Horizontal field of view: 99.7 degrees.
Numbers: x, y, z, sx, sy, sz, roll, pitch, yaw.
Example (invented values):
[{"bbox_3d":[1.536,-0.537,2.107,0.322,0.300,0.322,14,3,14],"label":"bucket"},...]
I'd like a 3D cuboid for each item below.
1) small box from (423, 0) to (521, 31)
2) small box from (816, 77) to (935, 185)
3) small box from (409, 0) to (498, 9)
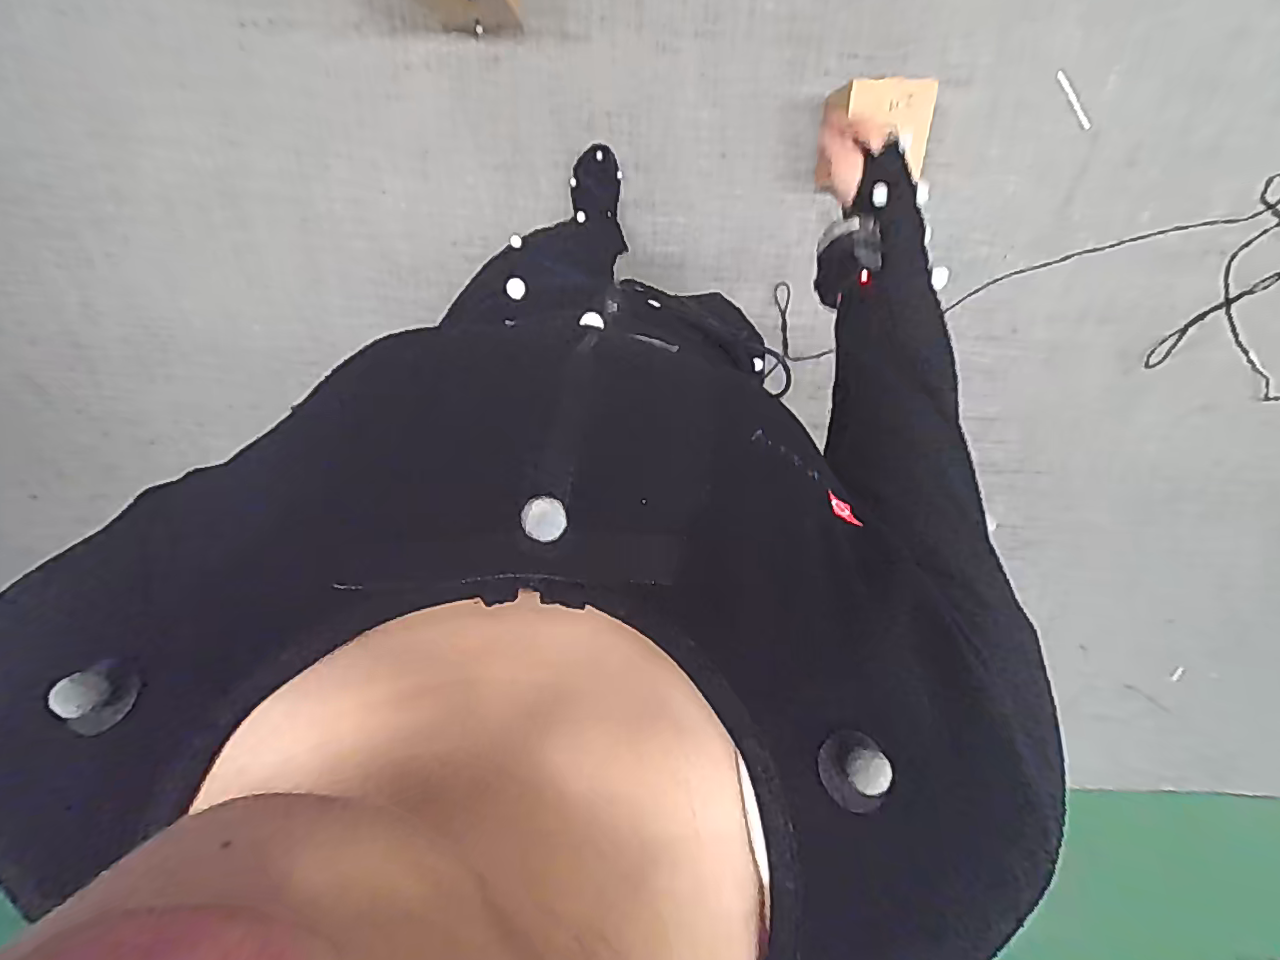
[{"bbox_3d":[-0.326,-0.980,1.020,0.179,0.176,0.168,0,115,0],"label":"small box"},{"bbox_3d":[0.478,-0.719,1.130,0.168,0.176,0.179,0,116,0],"label":"small box"},{"bbox_3d":[-0.327,-0.901,0.878,0.179,0.176,0.168,-1,114,3],"label":"small box"}]
